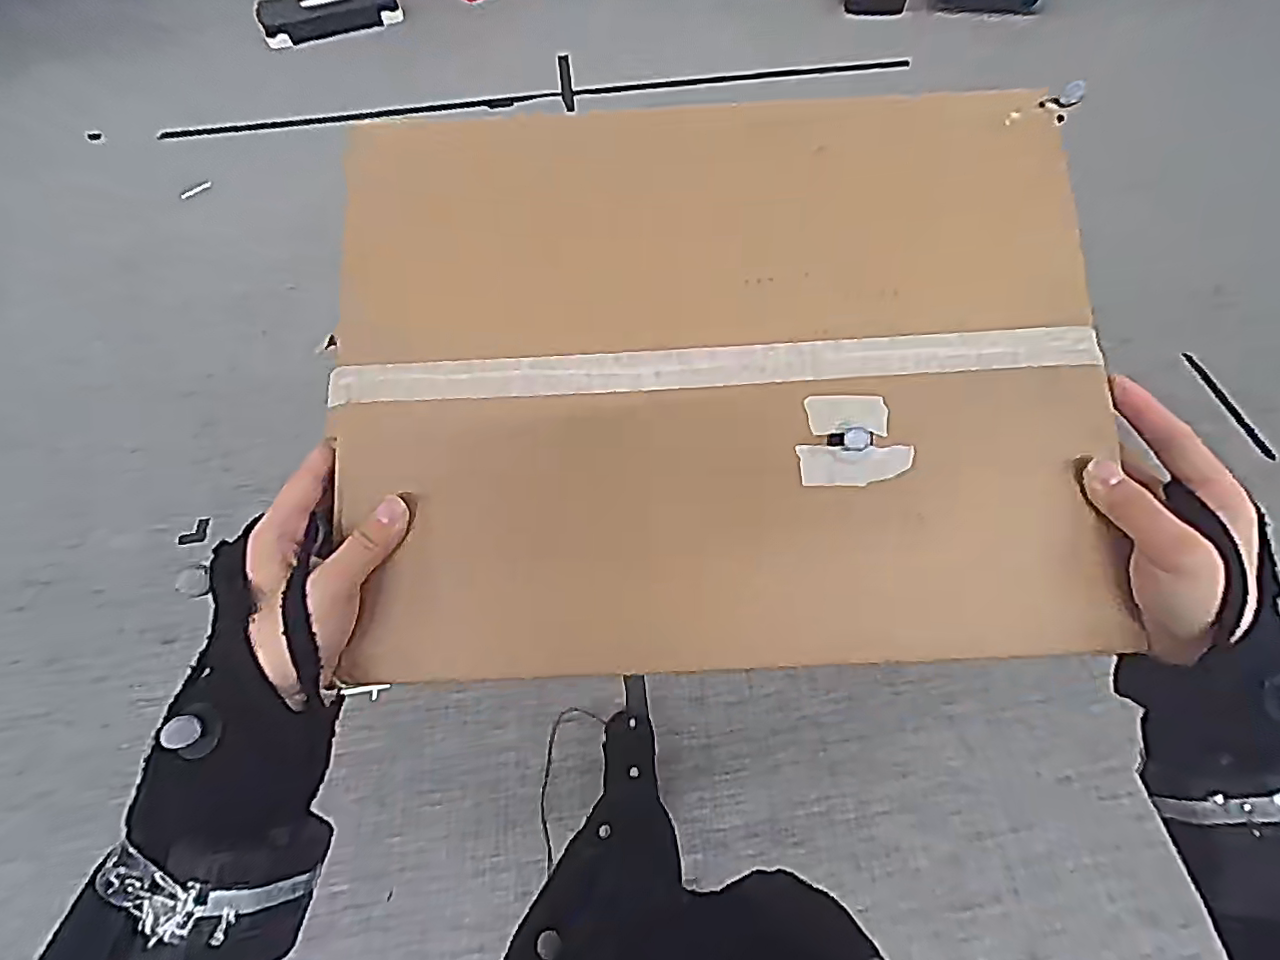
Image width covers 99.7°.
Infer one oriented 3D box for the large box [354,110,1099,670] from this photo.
[{"bbox_3d":[0.038,-0.041,0.454,0.408,0.320,0.320,-3,83,0],"label":"large box"}]
